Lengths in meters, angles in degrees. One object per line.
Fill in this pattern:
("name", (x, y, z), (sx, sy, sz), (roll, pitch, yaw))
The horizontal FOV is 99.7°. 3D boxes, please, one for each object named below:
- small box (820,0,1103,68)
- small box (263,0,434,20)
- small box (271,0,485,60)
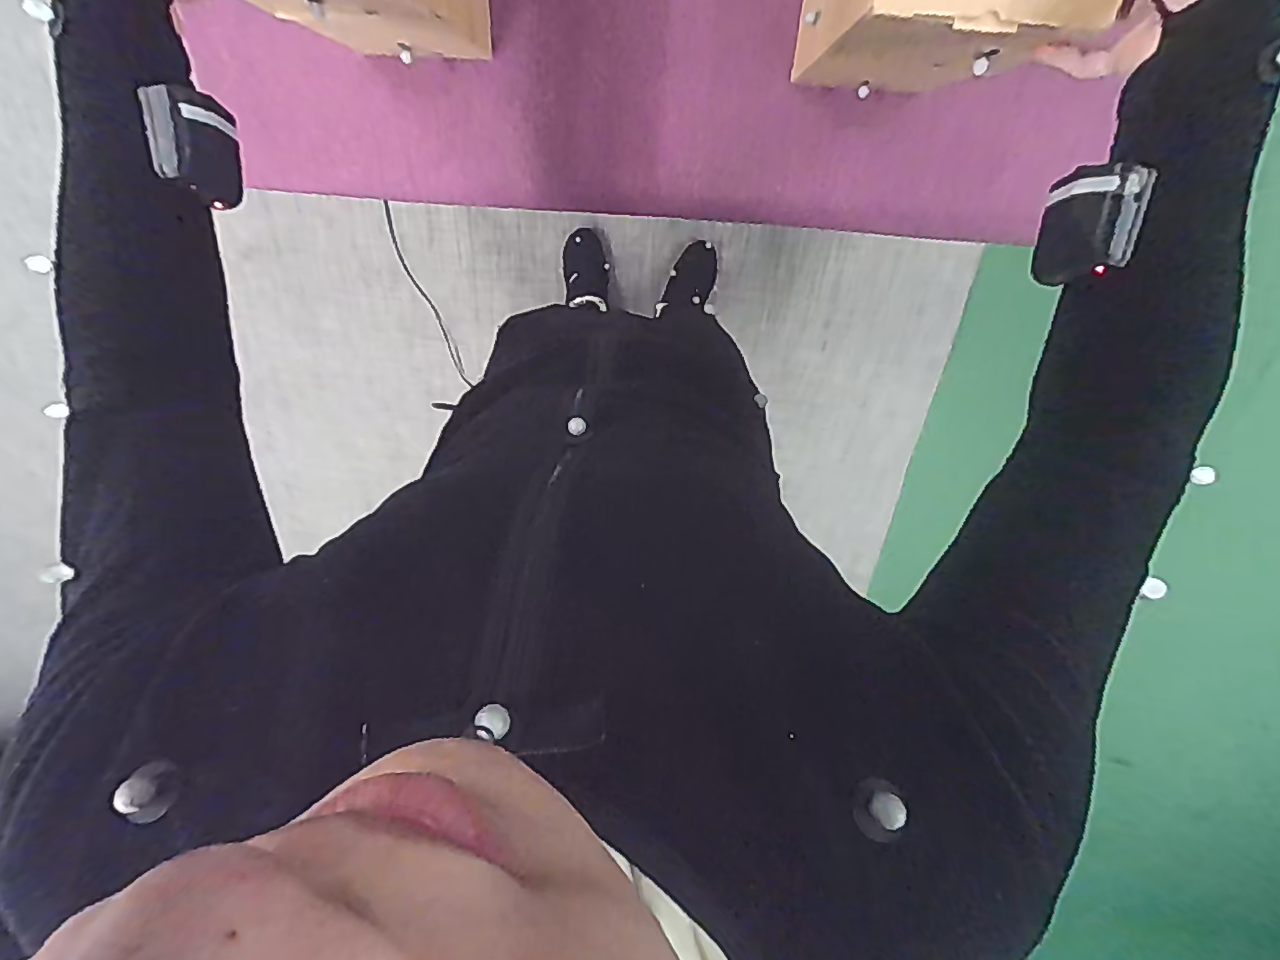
("small box", (0.245, -0.431, 0.402), (0.168, 0.176, 0.179), (7, 119, 1))
("small box", (-0.274, -0.483, 0.406), (0.168, 0.176, 0.179), (2, 119, 1))
("small box", (-0.266, -0.559, 0.549), (0.168, 0.176, 0.179), (4, 118, 1))
